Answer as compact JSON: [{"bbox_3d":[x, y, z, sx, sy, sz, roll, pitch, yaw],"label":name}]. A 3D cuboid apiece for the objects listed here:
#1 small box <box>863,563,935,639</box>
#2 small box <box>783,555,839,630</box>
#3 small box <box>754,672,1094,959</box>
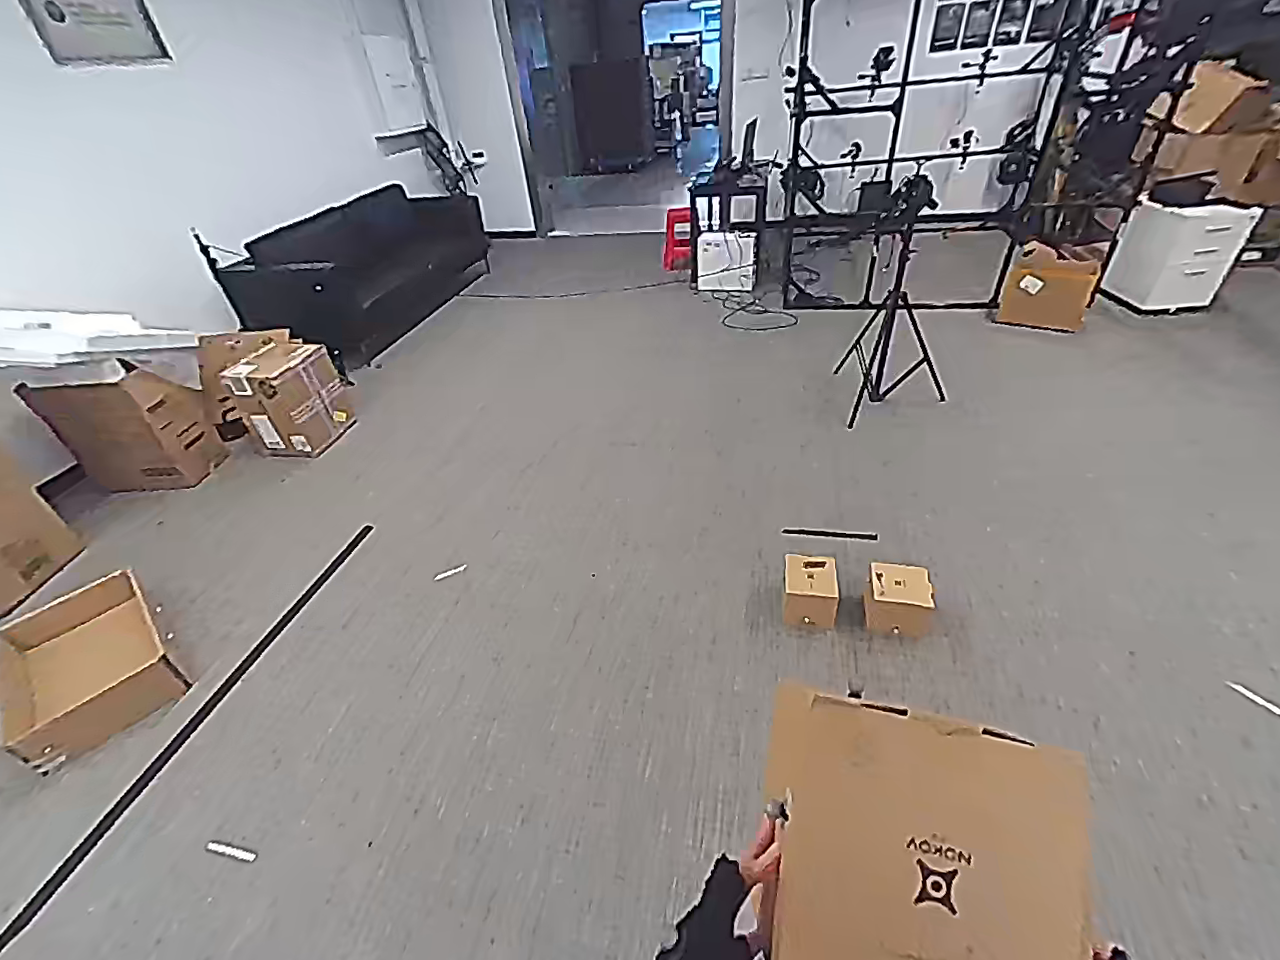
[{"bbox_3d":[0.845,0.400,1.781,0.179,0.176,0.168,6,39,14],"label":"small box"},{"bbox_3d":[0.576,0.382,1.841,0.168,0.176,0.179,3,39,12],"label":"small box"},{"bbox_3d":[0.181,0.247,0.391,0.168,0.176,0.179,11,75,10],"label":"small box"}]
